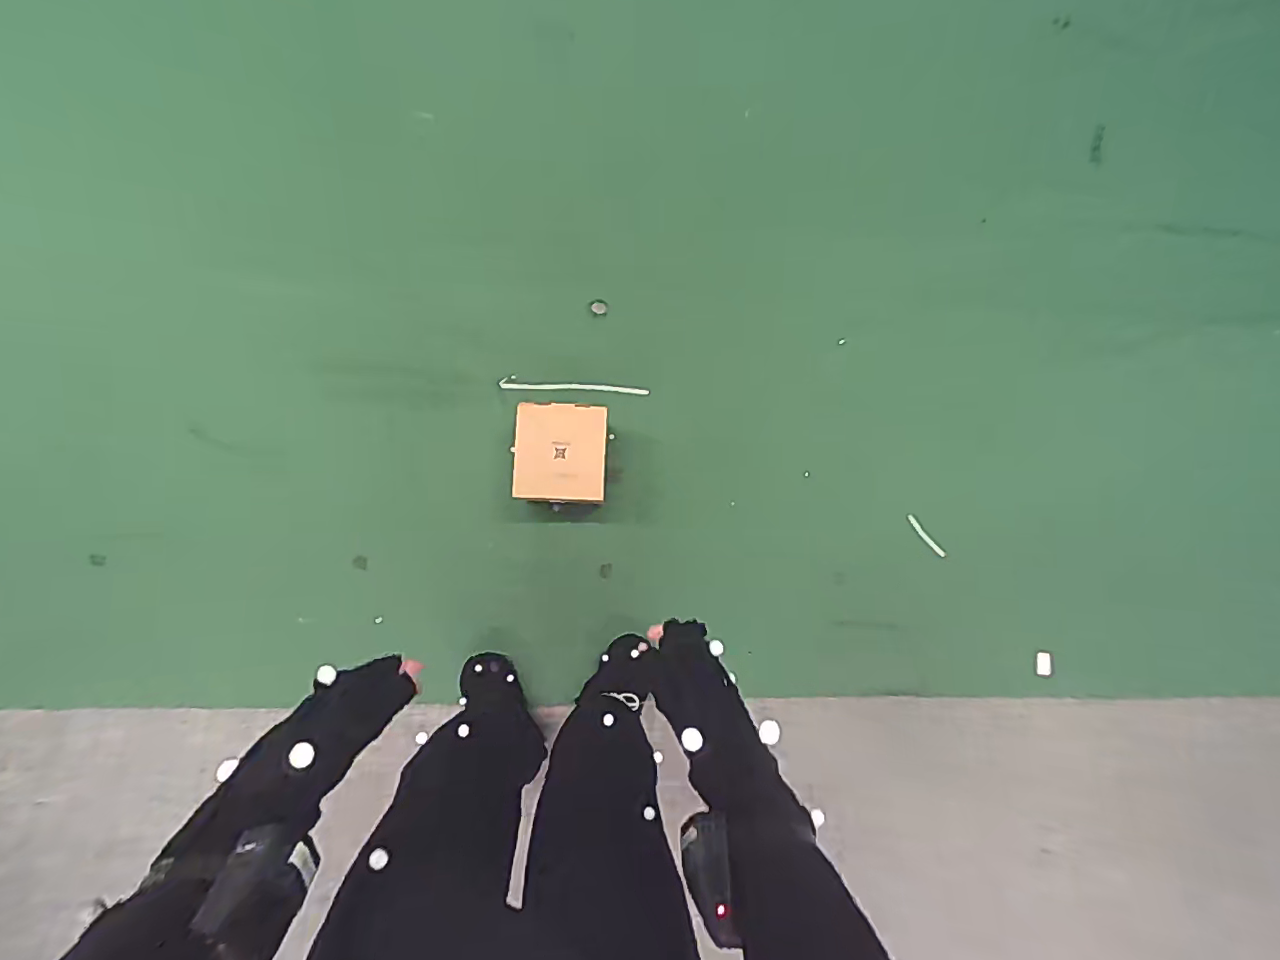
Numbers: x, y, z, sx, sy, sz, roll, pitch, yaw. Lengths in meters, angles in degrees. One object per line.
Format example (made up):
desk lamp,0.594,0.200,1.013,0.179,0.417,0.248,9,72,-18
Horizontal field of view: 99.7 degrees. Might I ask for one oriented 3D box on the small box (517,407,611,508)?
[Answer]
small box,-0.142,-0.038,1.064,0.168,0.176,0.179,2,86,-3
